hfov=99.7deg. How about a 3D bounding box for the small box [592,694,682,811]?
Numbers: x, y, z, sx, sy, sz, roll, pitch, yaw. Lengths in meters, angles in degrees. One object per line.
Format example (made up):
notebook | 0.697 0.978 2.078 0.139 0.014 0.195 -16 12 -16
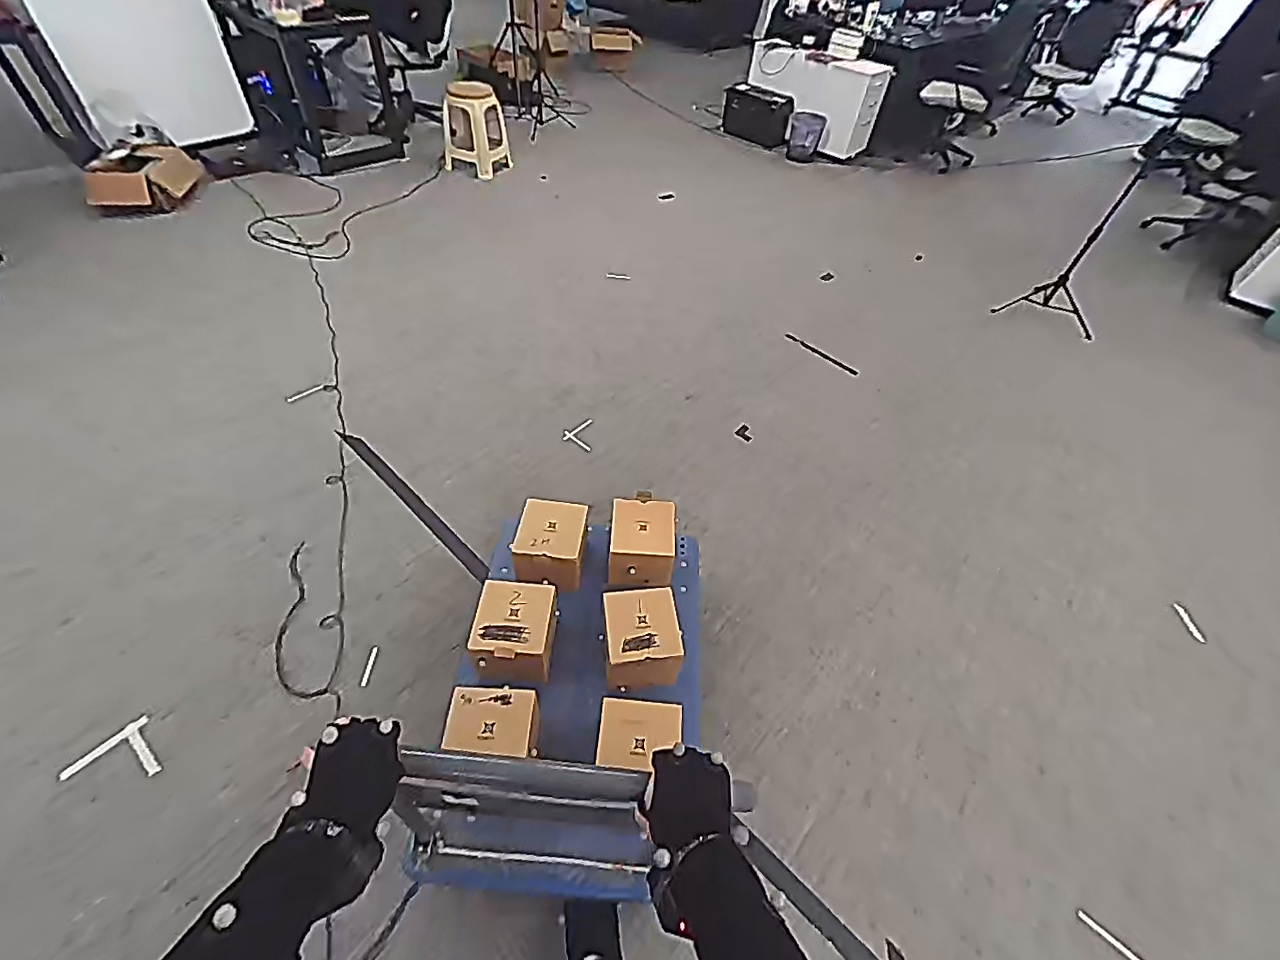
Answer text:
small box | -0.008 0.572 1.126 0.168 0.176 0.179 7 48 -1

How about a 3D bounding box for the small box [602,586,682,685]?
small box | -0.002 0.377 1.295 0.168 0.176 0.179 -3 49 -8

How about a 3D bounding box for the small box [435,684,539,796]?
small box | -0.304 0.541 1.118 0.168 0.176 0.179 4 49 -4

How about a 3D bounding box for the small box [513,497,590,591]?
small box | -0.232 0.172 1.447 0.168 0.176 0.179 8 50 1

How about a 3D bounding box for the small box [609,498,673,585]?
small box | 0.002 0.171 1.475 0.168 0.176 0.179 4 49 -2
